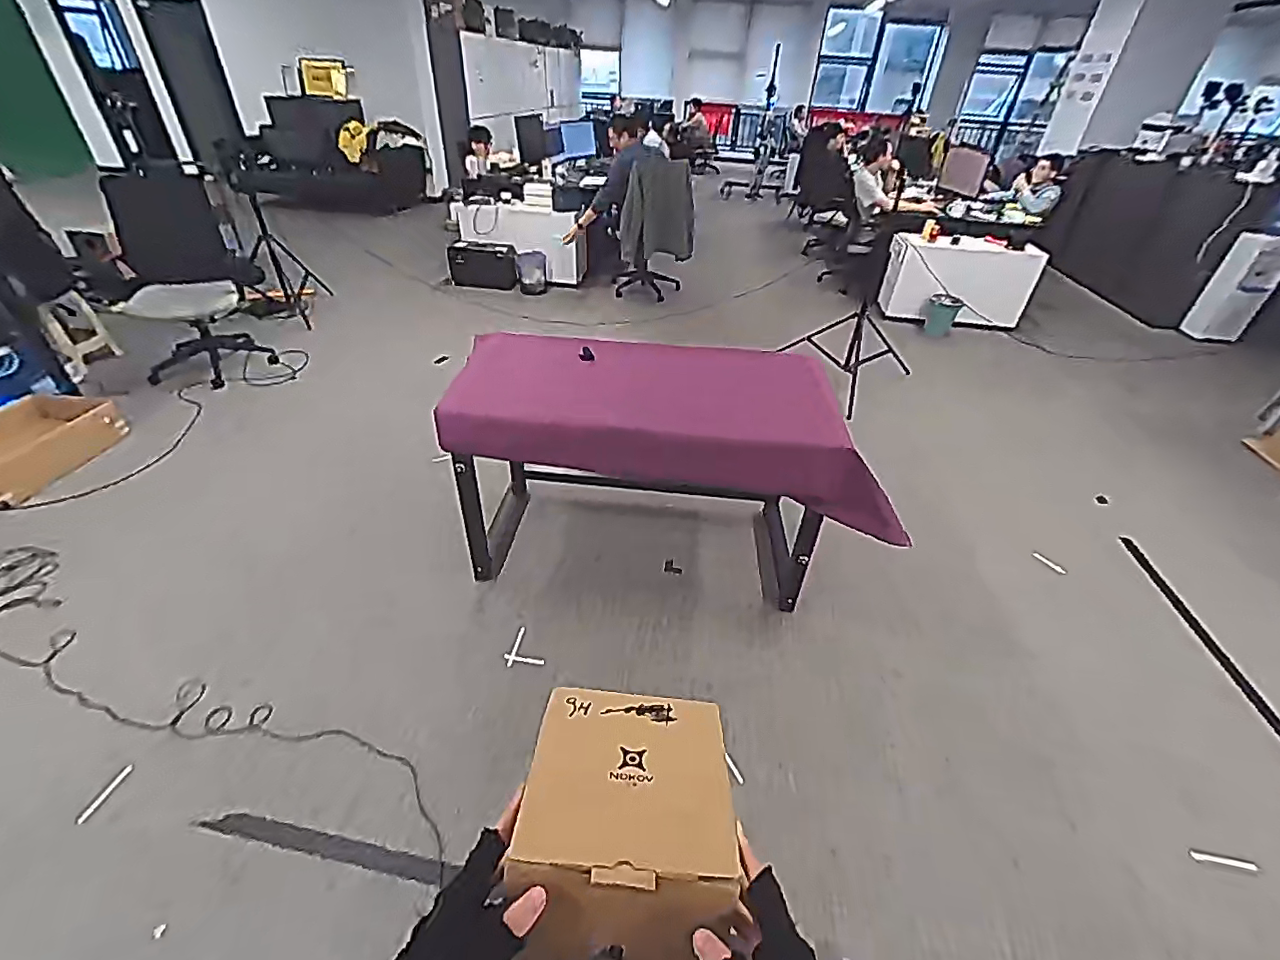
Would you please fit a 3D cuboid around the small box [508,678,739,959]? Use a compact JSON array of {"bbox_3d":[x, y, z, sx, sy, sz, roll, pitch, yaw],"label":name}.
[{"bbox_3d":[-0.014,0.309,0.481,0.168,0.176,0.179,6,21,0],"label":"small box"}]
